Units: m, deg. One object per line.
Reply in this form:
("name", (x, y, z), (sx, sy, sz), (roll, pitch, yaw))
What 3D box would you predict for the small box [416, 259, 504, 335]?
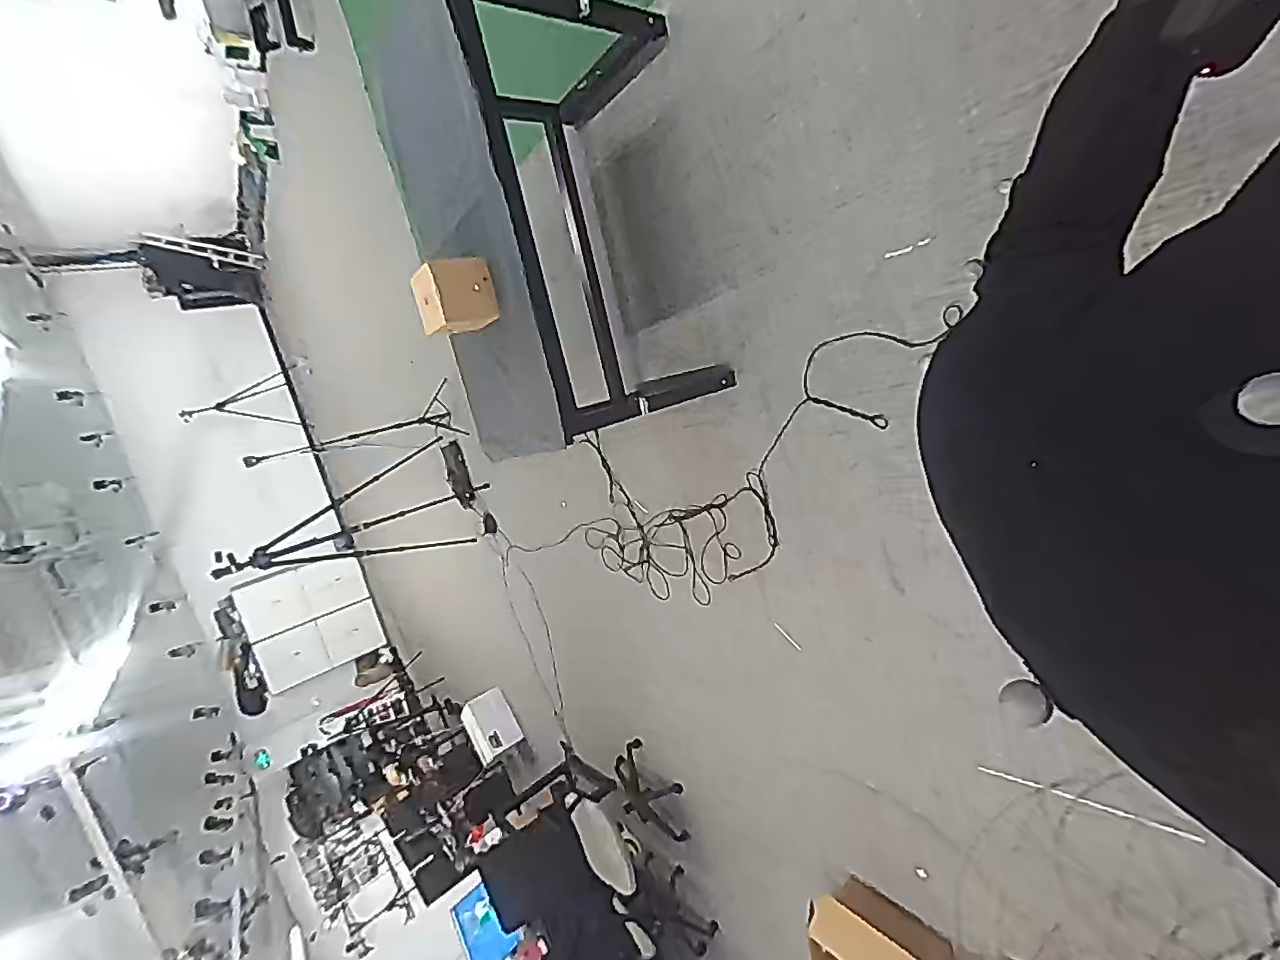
("small box", (-0.514, -0.523, 1.551), (0.179, 0.176, 0.168), (0, 108, 52))
